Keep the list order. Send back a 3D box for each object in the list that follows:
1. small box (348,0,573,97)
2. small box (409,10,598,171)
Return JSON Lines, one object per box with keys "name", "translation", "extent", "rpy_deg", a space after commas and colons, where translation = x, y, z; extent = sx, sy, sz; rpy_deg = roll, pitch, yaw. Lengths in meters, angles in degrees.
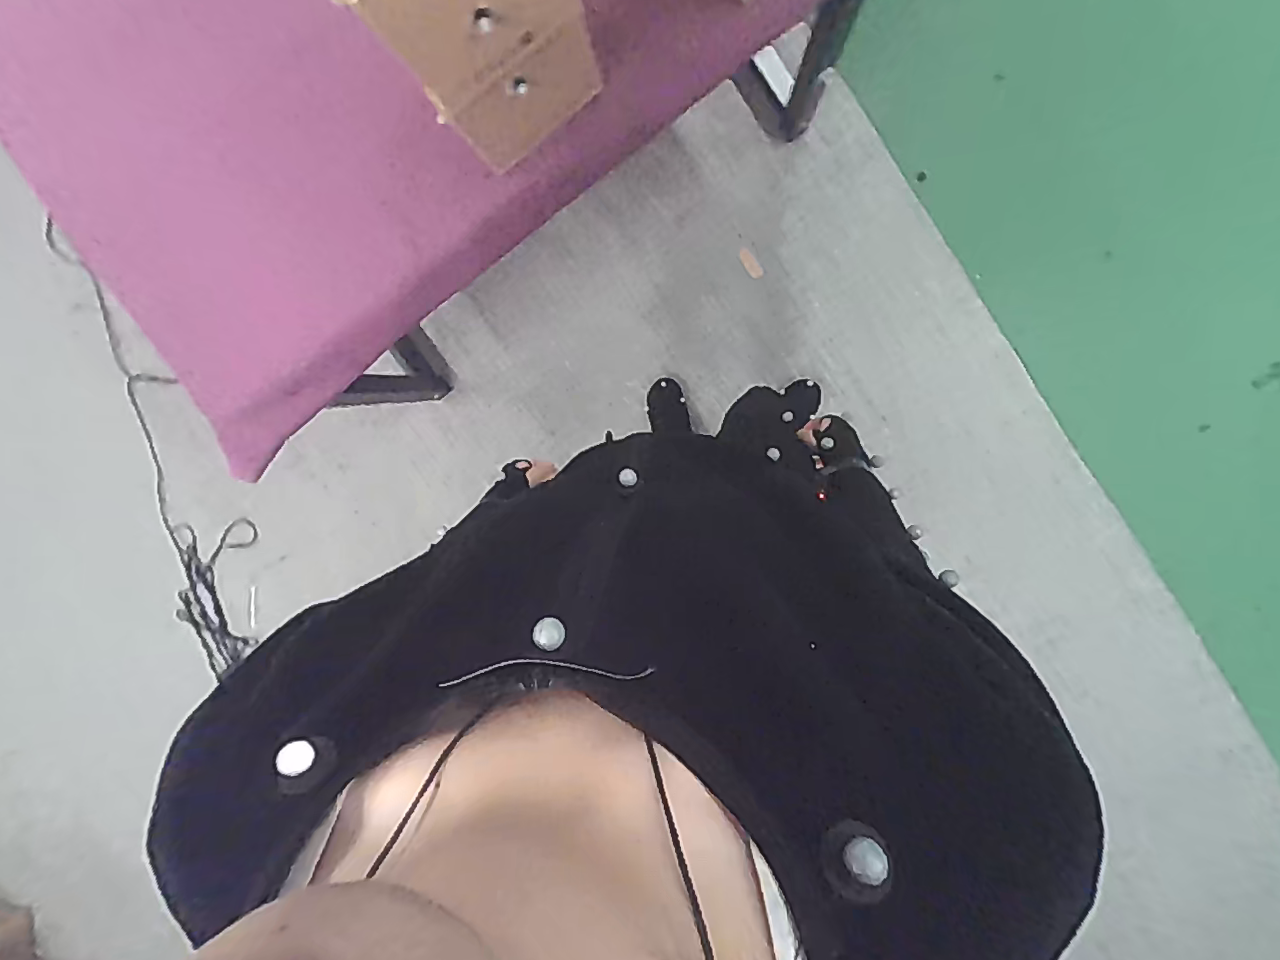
{"name": "small box", "translation": [-0.178, -0.473, 0.457], "extent": [0.168, 0.176, 0.179], "rpy_deg": [-31, 95, 10]}
{"name": "small box", "translation": [-0.169, -0.500, 0.618], "extent": [0.179, 0.176, 0.168], "rpy_deg": [-34, 95, 10]}
